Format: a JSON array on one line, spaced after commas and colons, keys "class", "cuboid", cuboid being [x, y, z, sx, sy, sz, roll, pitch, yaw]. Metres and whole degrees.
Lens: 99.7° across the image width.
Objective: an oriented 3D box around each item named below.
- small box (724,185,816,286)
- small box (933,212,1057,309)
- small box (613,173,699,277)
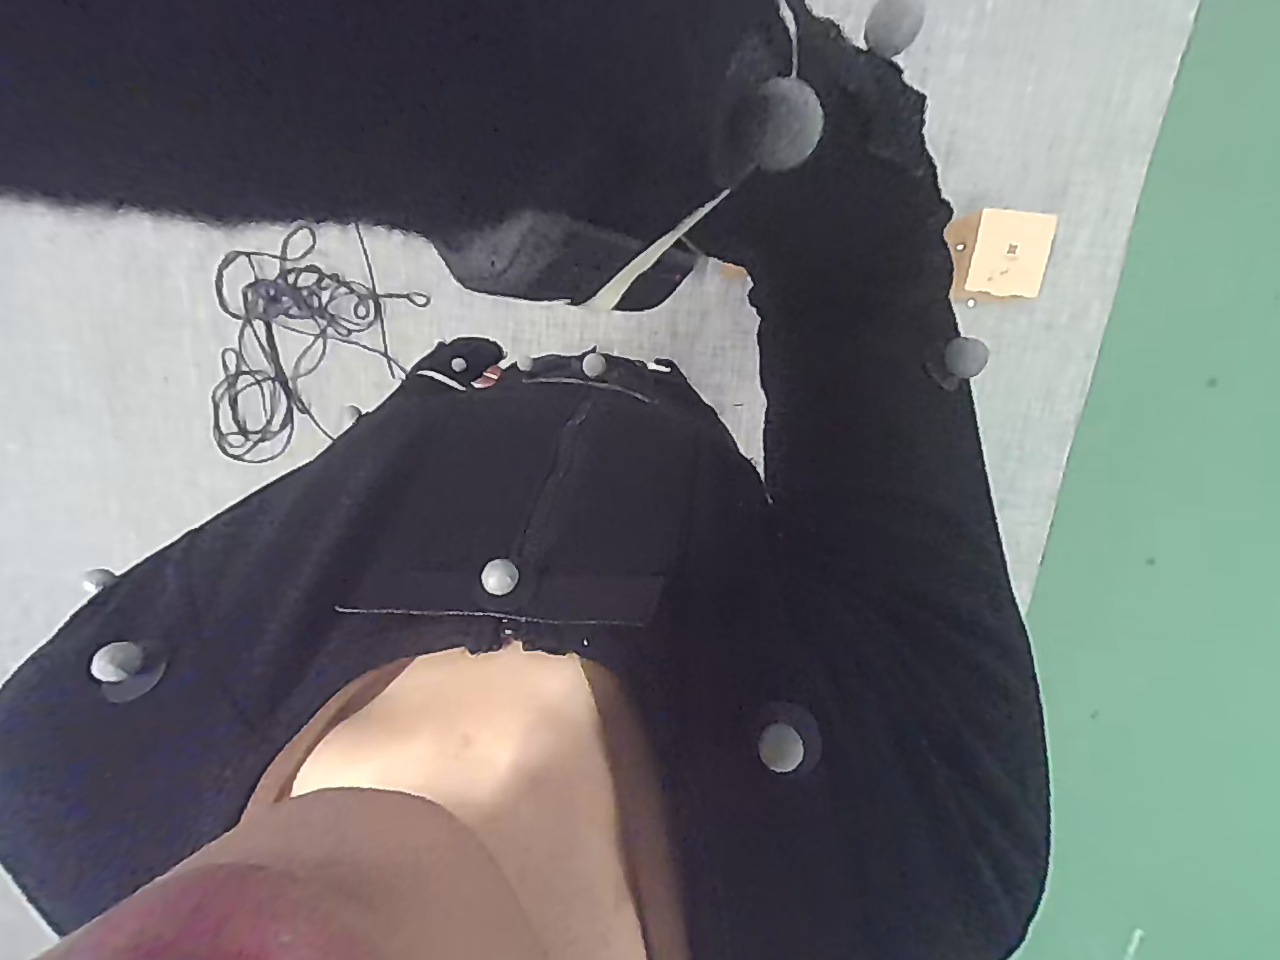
[{"class": "small box", "cuboid": [0.299, -0.570, 1.281, 0.168, 0.176, 0.179, 7, 103, 1]}, {"class": "small box", "cuboid": [0.825, -0.510, 1.278, 0.168, 0.176, 0.179, 7, 103, 1]}, {"class": "small box", "cuboid": [0.038, -0.593, 1.283, 0.168, 0.176, 0.179, 11, 102, 0]}]
